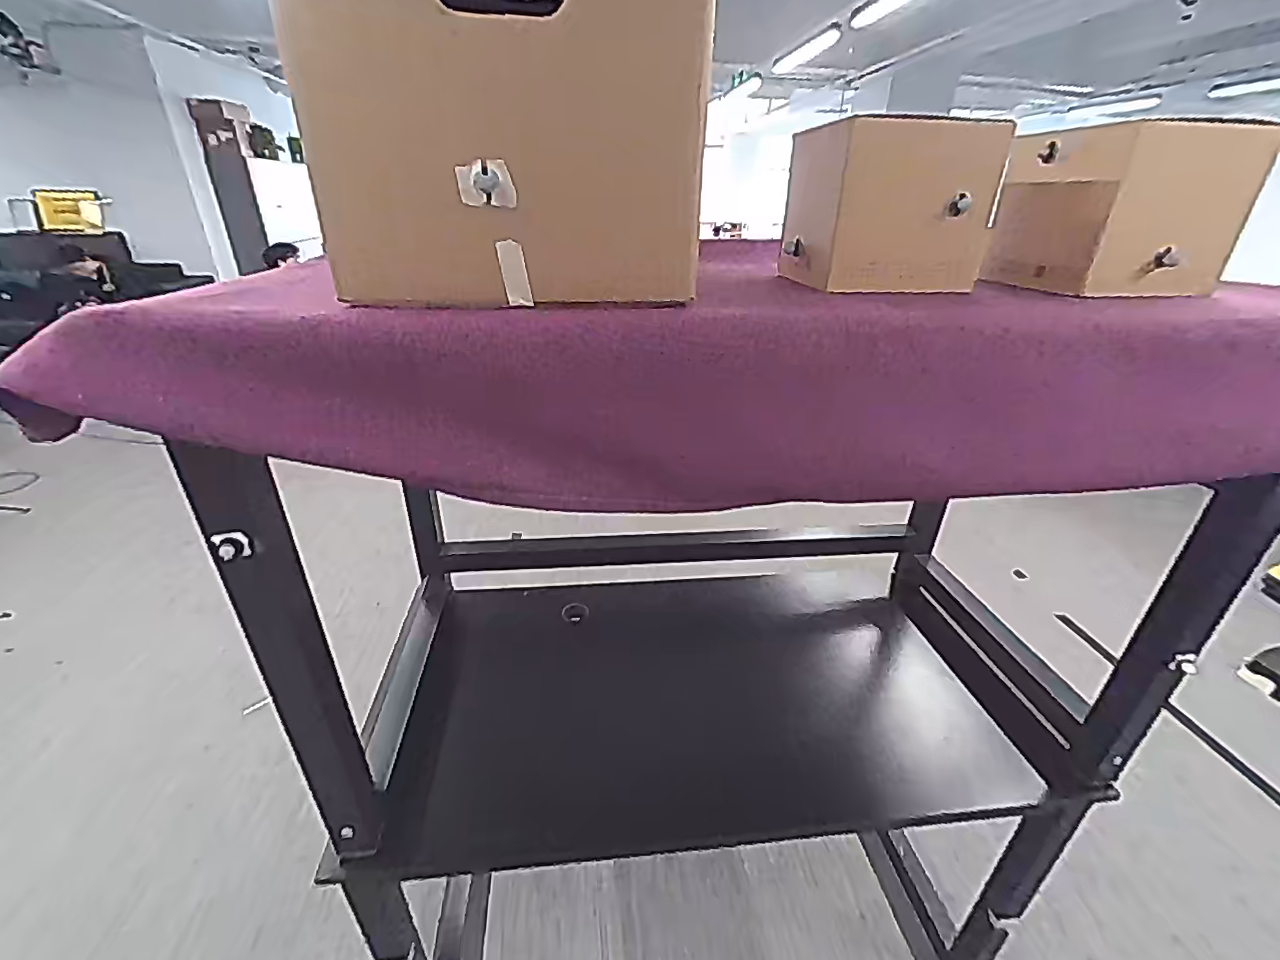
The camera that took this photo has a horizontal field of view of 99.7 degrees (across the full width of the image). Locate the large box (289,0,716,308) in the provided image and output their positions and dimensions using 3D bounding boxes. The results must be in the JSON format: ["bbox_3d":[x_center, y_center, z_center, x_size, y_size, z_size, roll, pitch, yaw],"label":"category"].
[{"bbox_3d":[-0.119,-0.373,0.577,0.320,0.320,0.408,-2,26,-7],"label":"large box"}]

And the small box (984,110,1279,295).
[{"bbox_3d":[0.551,-0.315,0.630,0.179,0.176,0.168,-3,26,-8],"label":"small box"}]

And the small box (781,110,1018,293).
[{"bbox_3d":[0.282,-0.319,0.634,0.179,0.176,0.168,-2,26,-5],"label":"small box"}]
